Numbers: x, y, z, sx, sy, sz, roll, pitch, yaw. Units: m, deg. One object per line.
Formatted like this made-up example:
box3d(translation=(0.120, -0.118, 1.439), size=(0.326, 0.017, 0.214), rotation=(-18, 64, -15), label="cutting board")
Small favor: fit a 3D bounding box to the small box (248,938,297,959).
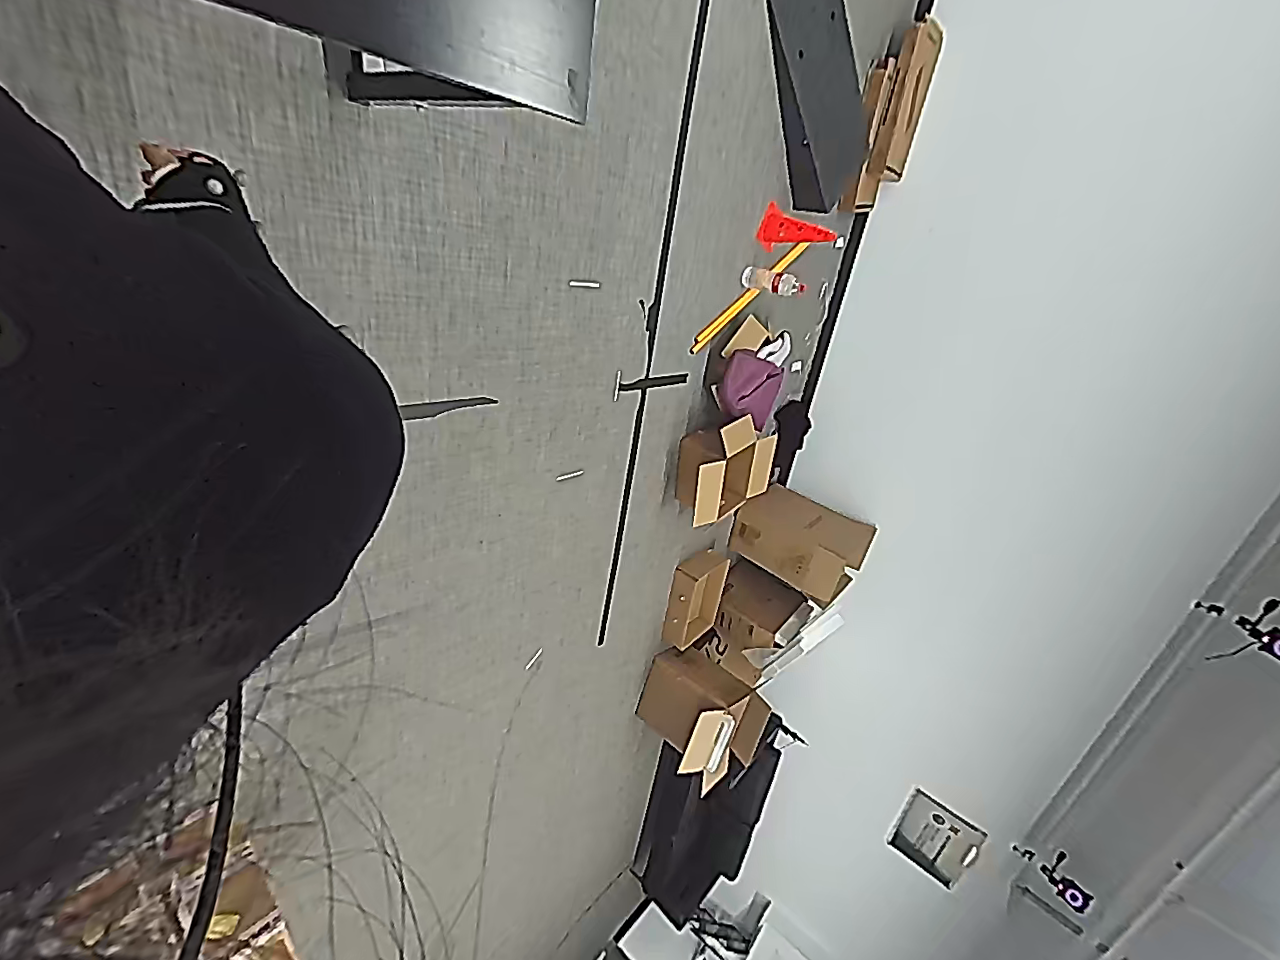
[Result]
box3d(translation=(-0.967, 1.351, 1.395), size=(0.168, 0.176, 0.179), rotation=(-22, 125, -48), label="small box")
